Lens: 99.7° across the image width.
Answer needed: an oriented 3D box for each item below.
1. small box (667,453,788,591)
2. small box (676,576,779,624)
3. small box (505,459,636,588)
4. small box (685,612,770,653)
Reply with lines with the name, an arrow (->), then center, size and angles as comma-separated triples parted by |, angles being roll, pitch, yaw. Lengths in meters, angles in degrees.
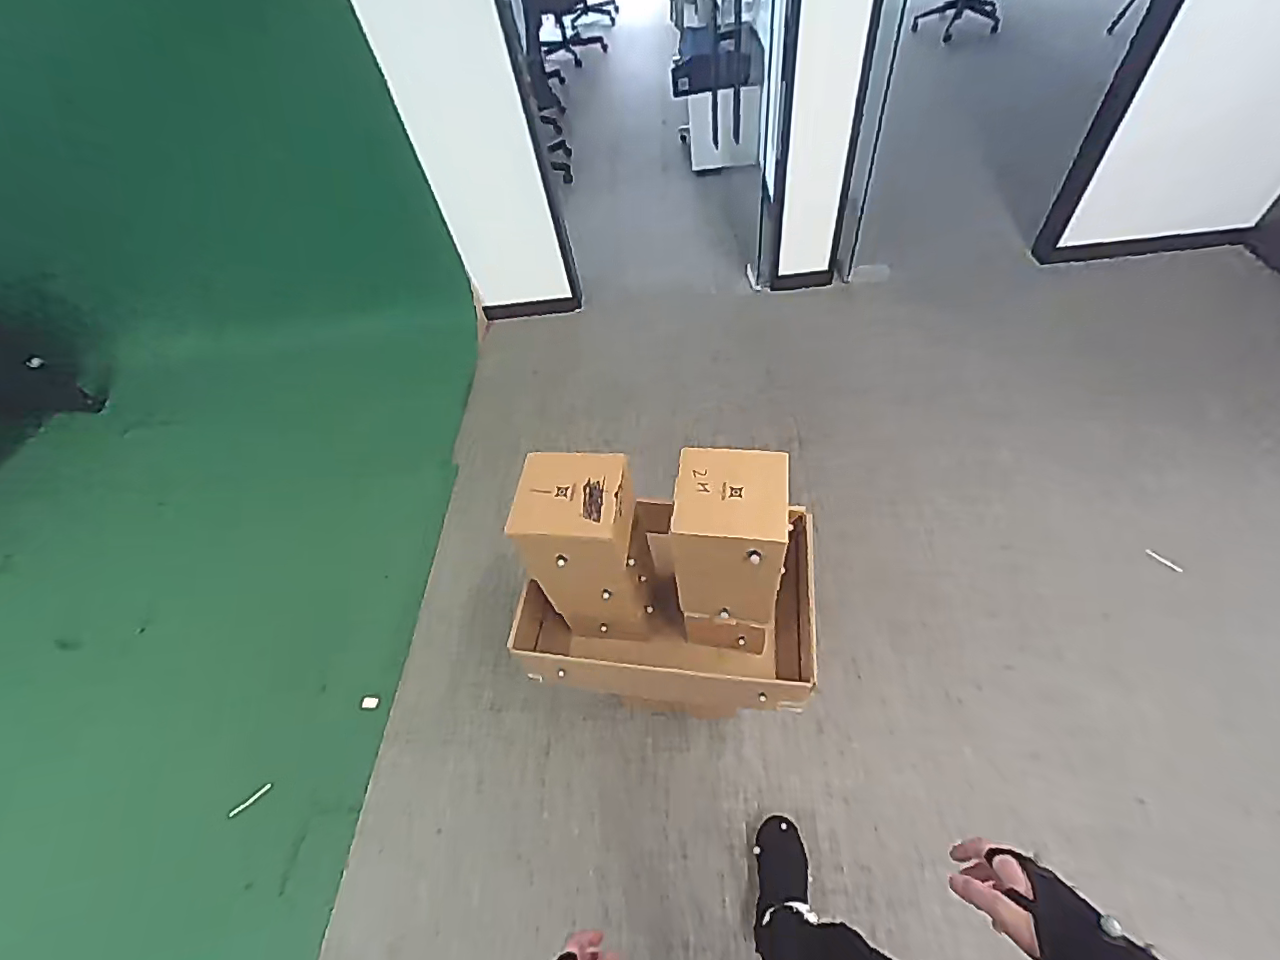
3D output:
small box -> 0.149, 0.074, 0.902 | 0.179, 0.176, 0.168 | 3, 55, 12
small box -> 0.174, 0.165, 1.039 | 0.179, 0.176, 0.168 | 6, 56, 13
small box -> -0.108, 0.080, 0.949 | 0.179, 0.176, 0.168 | 1, 55, 11
small box -> 0.199, 0.258, 1.170 | 0.168, 0.176, 0.179 | 6, 56, 14
